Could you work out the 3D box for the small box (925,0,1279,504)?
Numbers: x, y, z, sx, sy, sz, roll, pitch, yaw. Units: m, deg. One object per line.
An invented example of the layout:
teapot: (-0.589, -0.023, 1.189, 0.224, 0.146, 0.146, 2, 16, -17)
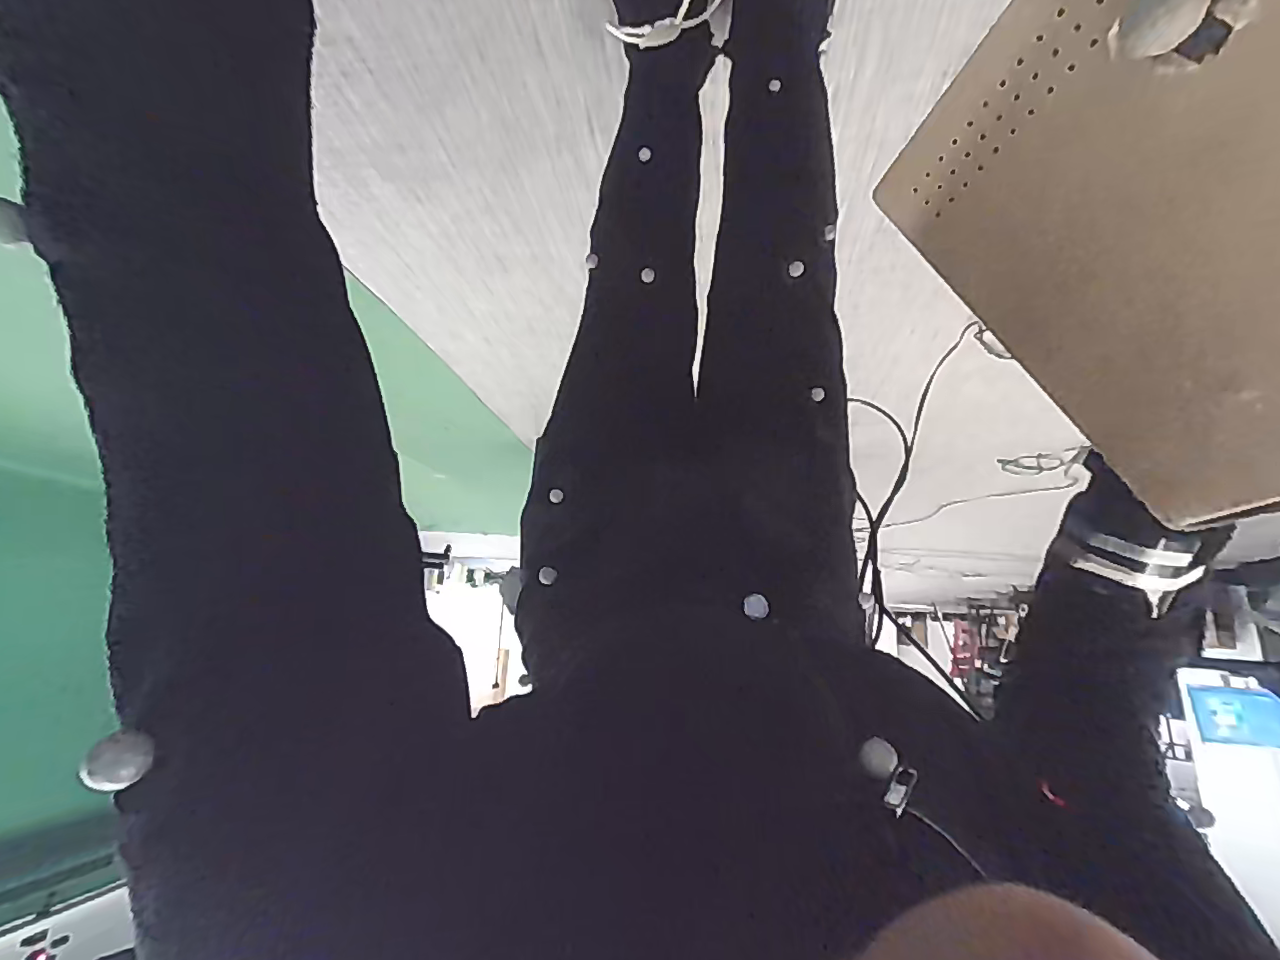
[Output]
small box: (0.221, -0.124, 0.156, 0.168, 0.176, 0.179, -30, 169, -24)
